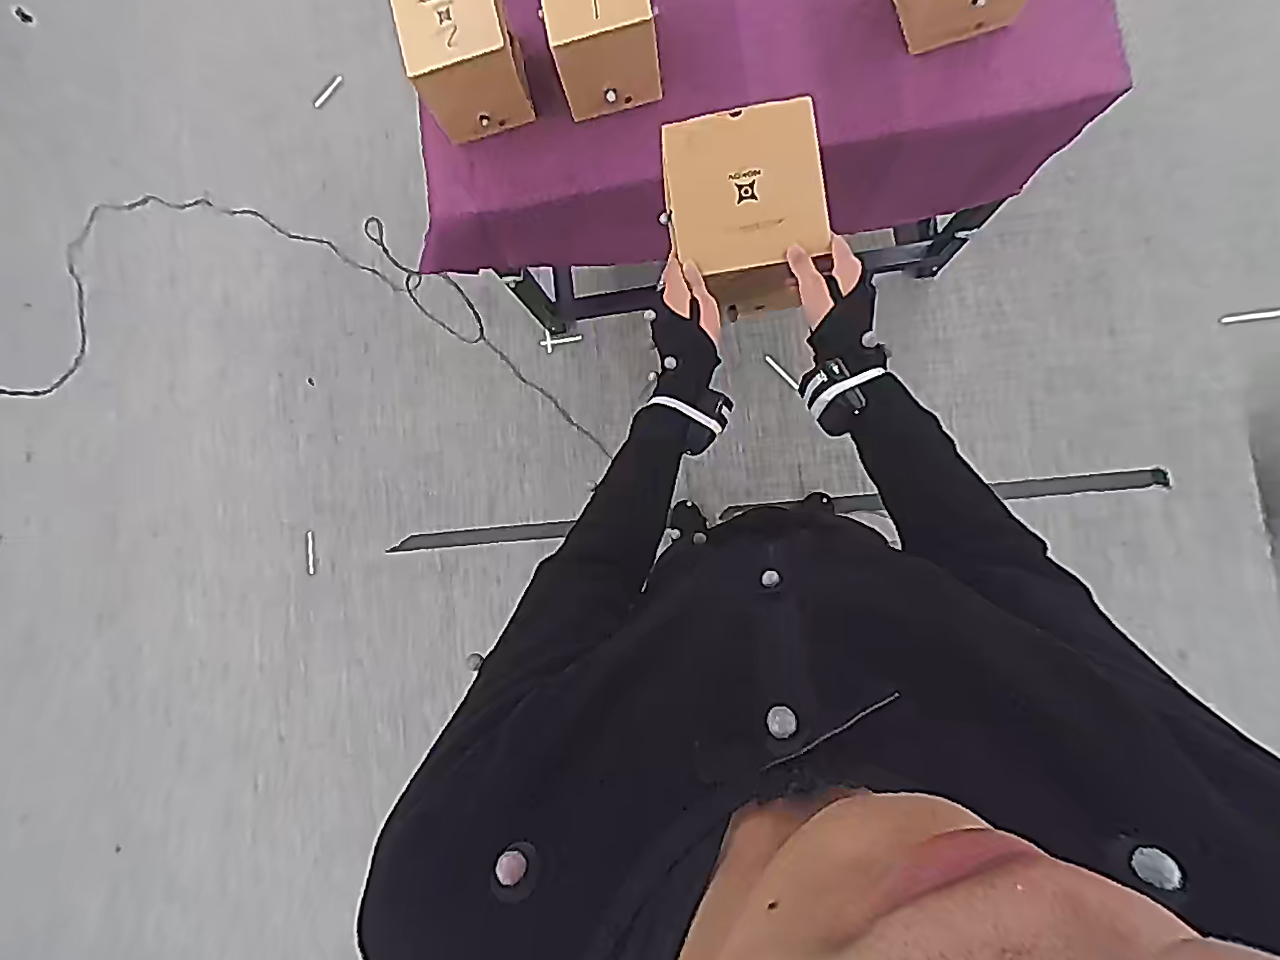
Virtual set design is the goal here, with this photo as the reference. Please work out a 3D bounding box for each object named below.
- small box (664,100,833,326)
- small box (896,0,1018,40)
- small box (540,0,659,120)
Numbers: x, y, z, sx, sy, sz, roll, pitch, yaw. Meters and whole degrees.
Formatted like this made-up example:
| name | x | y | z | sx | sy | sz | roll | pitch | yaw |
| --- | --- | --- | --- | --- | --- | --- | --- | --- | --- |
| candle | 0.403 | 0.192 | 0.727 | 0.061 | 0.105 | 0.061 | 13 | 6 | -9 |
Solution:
| name | x | y | z | sx | sy | sz | roll | pitch | yaw |
| --- | --- | --- | --- | --- | --- | --- | --- | --- | --- |
| small box | 0.120 | -0.308 | 0.658 | 0.168 | 0.176 | 0.179 | -7 | 87 | 5 |
| small box | 0.505 | -0.828 | 0.830 | 0.168 | 0.176 | 0.179 | -14 | 85 | 6 |
| small box | -0.067 | -0.755 | 0.901 | 0.168 | 0.176 | 0.179 | -11 | 86 | 7 |
